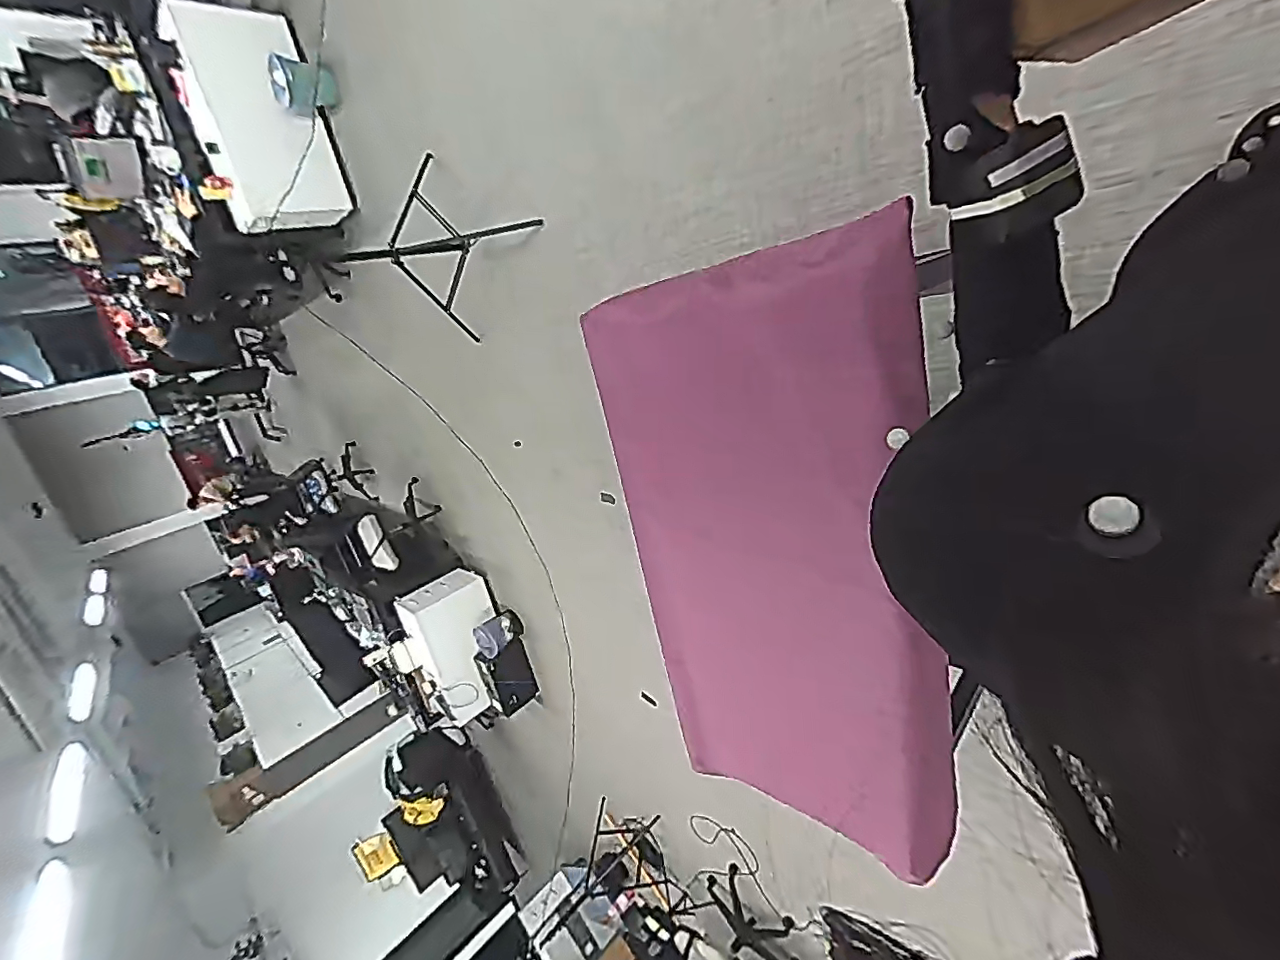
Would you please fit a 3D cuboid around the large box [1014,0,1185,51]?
[{"bbox_3d":[0.408,-0.501,0.258,0.408,0.320,0.320,-7,115,47],"label":"large box"}]
